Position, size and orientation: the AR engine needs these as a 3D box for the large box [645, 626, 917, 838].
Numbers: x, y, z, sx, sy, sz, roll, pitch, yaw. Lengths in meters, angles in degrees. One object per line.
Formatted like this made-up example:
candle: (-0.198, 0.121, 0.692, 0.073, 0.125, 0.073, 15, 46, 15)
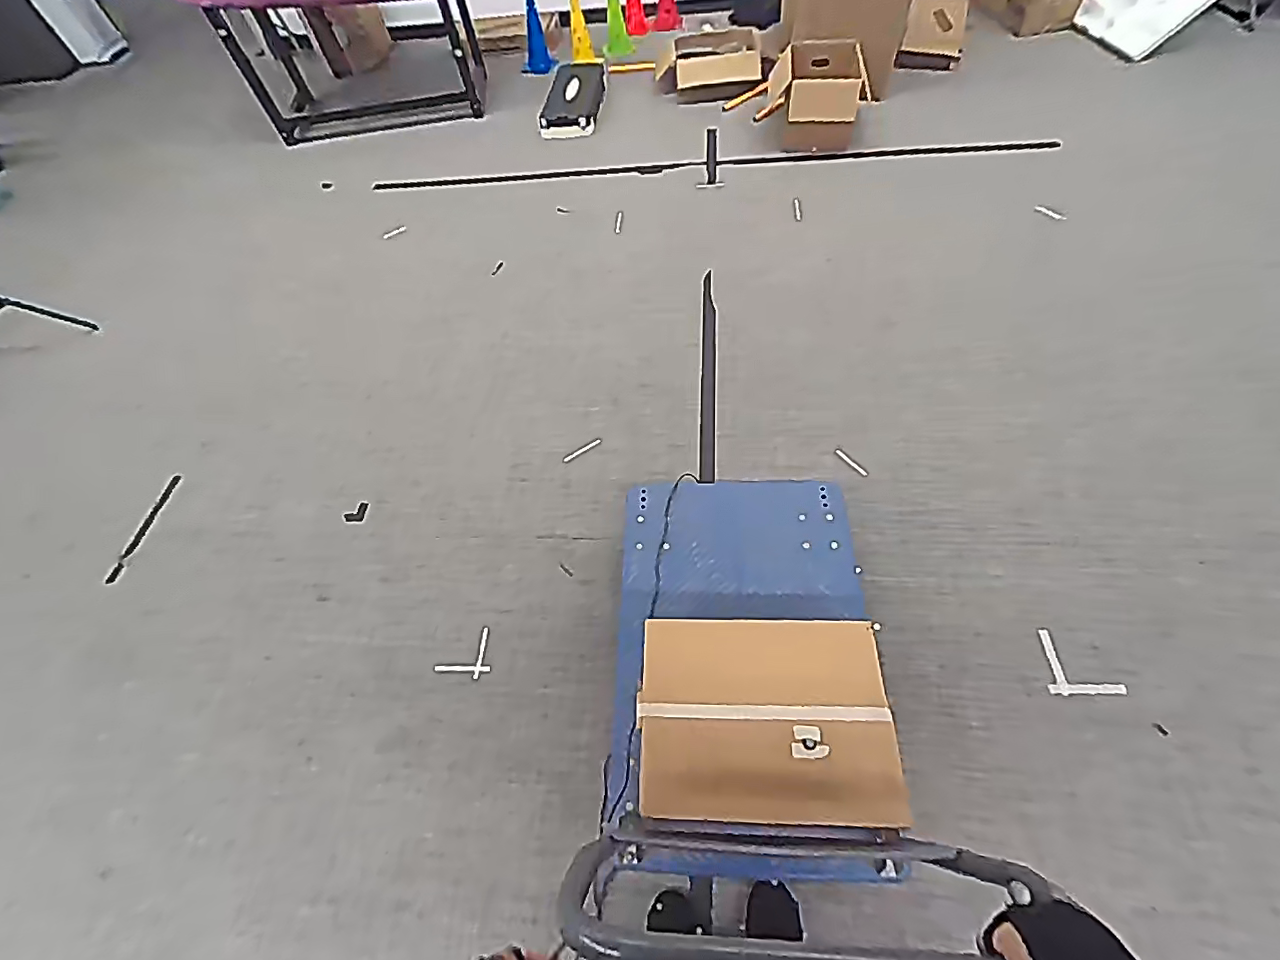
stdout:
large box: (0.216, 0.470, 0.996, 0.408, 0.320, 0.320, -1, 58, 4)
